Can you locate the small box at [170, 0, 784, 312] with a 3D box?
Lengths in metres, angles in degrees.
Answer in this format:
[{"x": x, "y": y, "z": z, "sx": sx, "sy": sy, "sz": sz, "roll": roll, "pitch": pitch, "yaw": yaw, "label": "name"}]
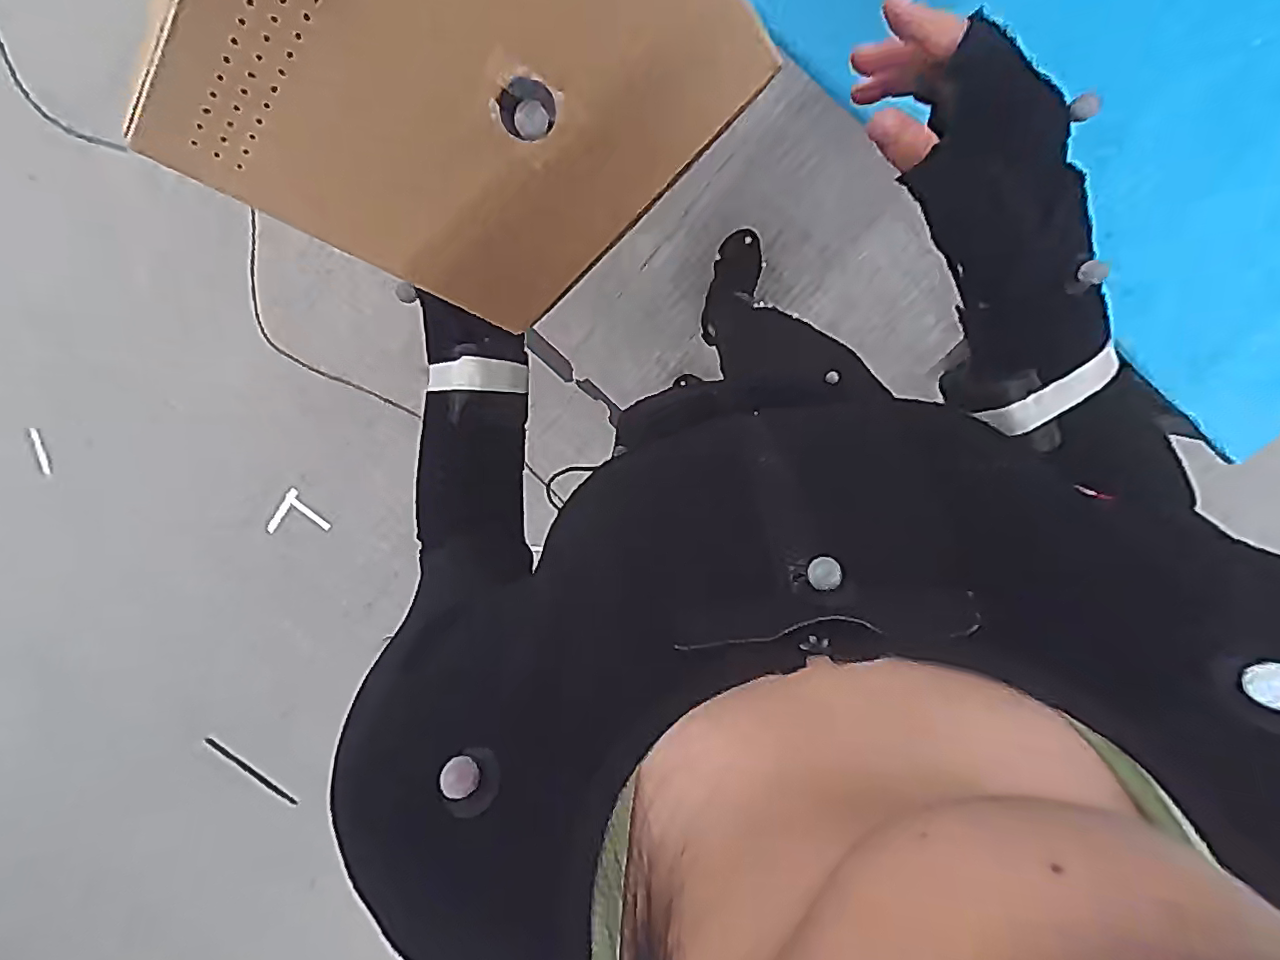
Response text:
[{"x": -0.077, "y": -0.216, "z": 0.234, "sx": 0.179, "sy": 0.176, "sz": 0.168, "roll": -35, "pitch": 60, "yaw": 29, "label": "small box"}]
